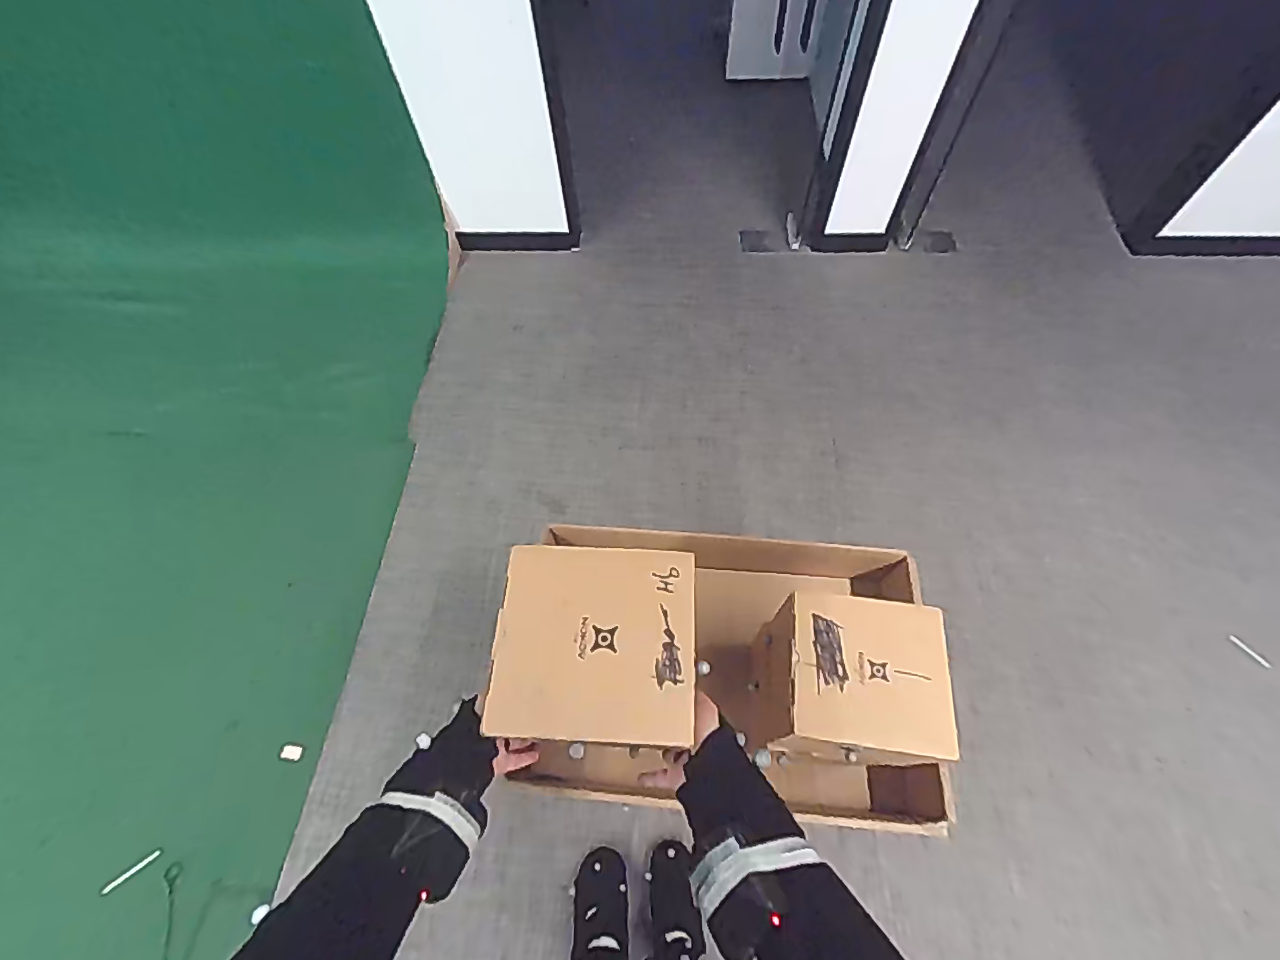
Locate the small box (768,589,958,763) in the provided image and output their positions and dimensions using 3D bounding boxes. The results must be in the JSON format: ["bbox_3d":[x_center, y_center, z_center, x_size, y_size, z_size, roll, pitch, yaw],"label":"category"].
[{"bbox_3d":[0.261,0.251,0.678,0.179,0.176,0.168,7,61,5],"label":"small box"}]

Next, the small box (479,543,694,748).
[{"bbox_3d":[-0.038,0.171,0.540,0.179,0.176,0.168,2,64,3],"label":"small box"}]
